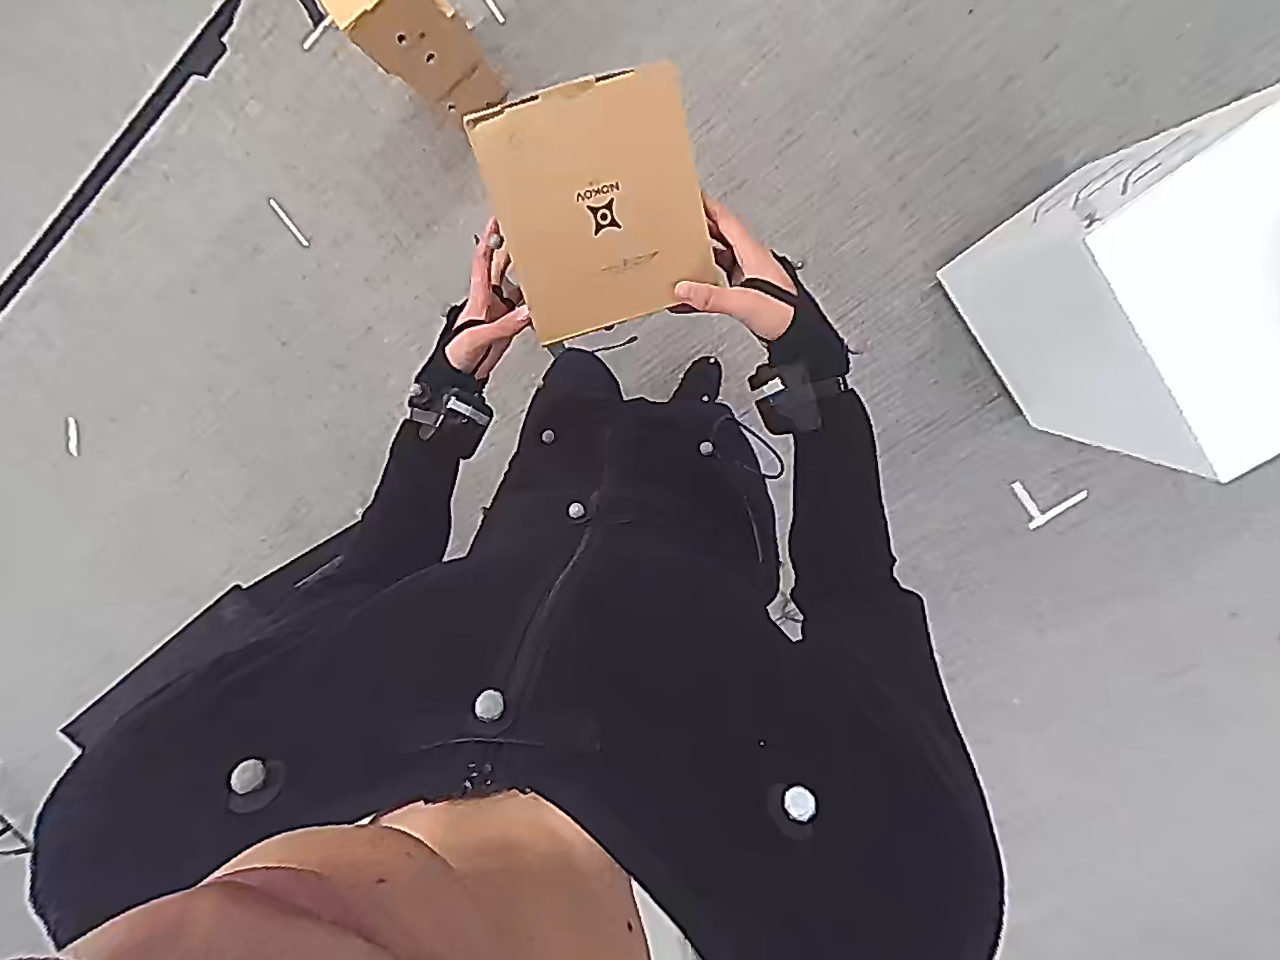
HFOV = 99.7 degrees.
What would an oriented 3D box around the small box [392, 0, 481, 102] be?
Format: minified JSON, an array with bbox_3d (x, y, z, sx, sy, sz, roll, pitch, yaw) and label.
[{"bbox_3d":[-0.476,-0.970,1.162,0.179,0.176,0.168,-35,99,12],"label":"small box"}]

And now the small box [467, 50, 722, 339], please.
[{"bbox_3d":[-0.041,-0.243,0.497,0.168,0.176,0.179,-18,113,-2],"label":"small box"}]

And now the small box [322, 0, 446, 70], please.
[{"bbox_3d":[-0.502,-0.928,1.007,0.168,0.176,0.179,-33,100,12],"label":"small box"}]
